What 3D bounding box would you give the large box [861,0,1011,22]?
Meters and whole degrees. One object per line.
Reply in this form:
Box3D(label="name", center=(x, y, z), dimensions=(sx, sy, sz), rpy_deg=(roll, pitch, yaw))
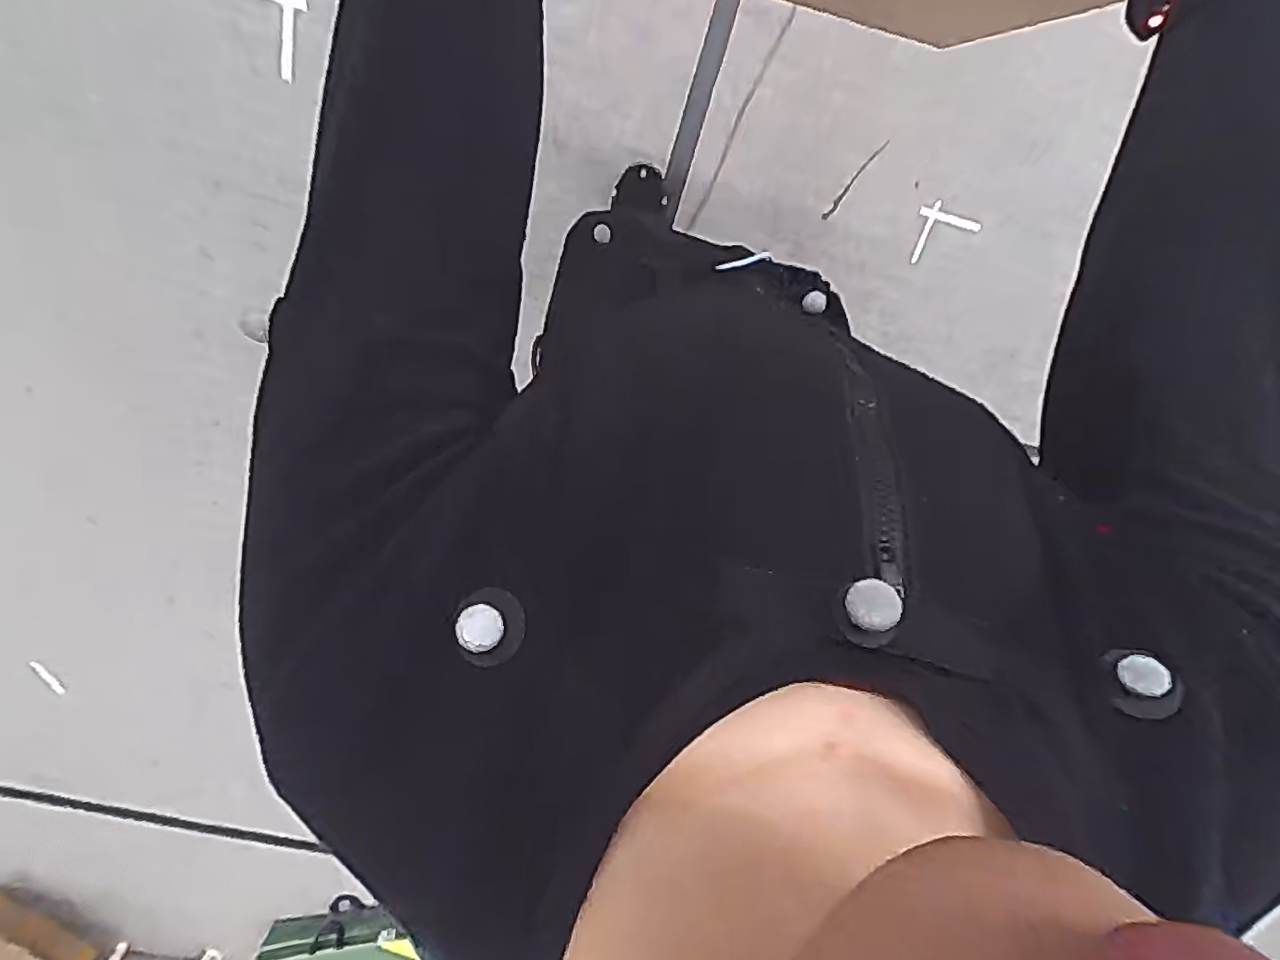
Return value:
Box3D(label="large box", center=(0.175, -0.581, 0.374), dimensions=(0.408, 0.320, 0.320), rpy_deg=(13, 122, -5))
